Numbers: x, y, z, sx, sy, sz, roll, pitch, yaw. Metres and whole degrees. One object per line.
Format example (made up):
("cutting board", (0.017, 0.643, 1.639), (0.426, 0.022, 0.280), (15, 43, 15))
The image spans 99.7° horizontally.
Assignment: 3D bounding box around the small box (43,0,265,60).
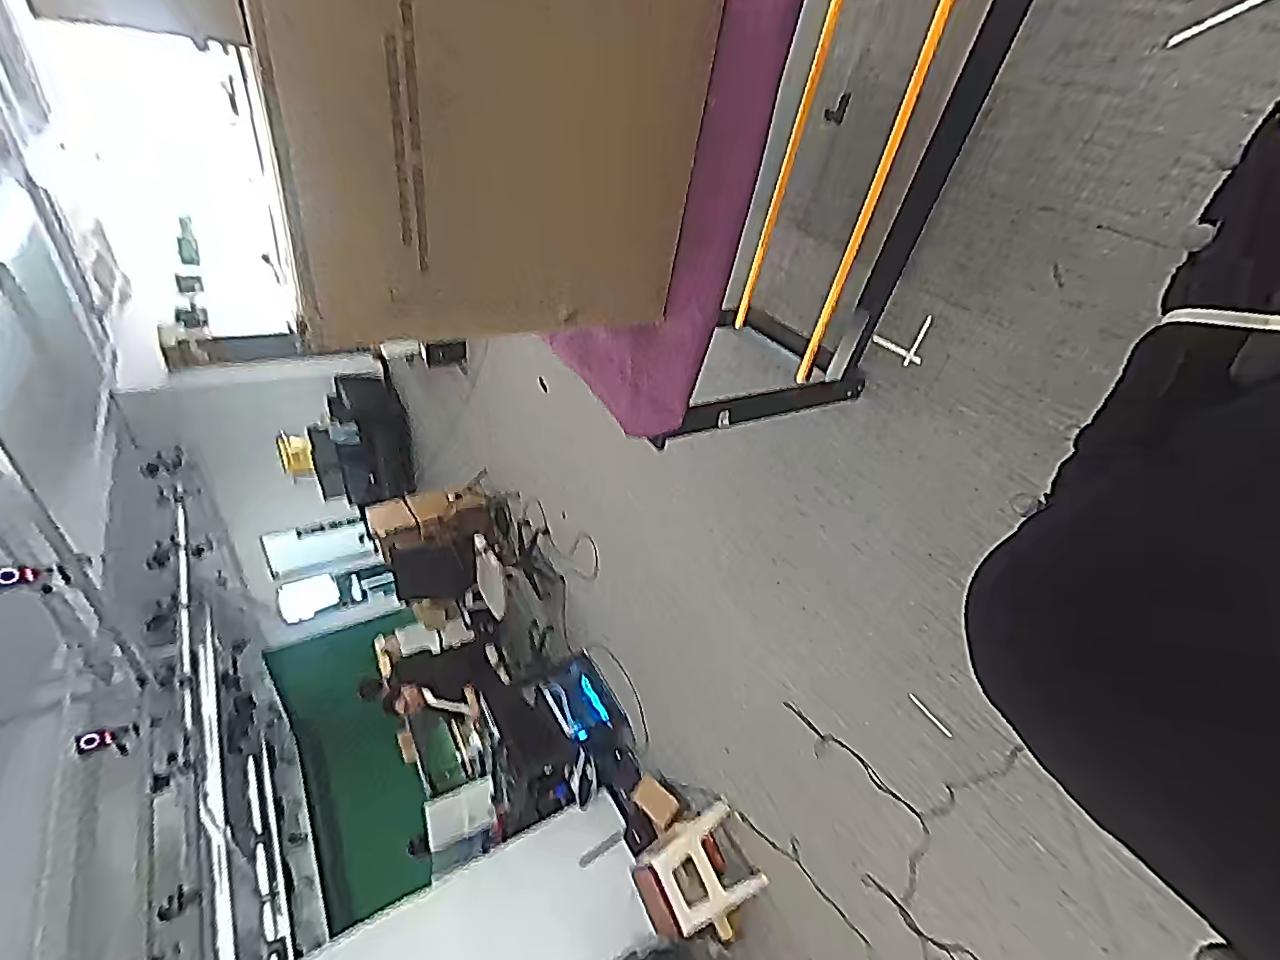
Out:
("small box", (-0.504, -0.544, 0.540), (0.179, 0.176, 0.168), (48, 140, 36))
